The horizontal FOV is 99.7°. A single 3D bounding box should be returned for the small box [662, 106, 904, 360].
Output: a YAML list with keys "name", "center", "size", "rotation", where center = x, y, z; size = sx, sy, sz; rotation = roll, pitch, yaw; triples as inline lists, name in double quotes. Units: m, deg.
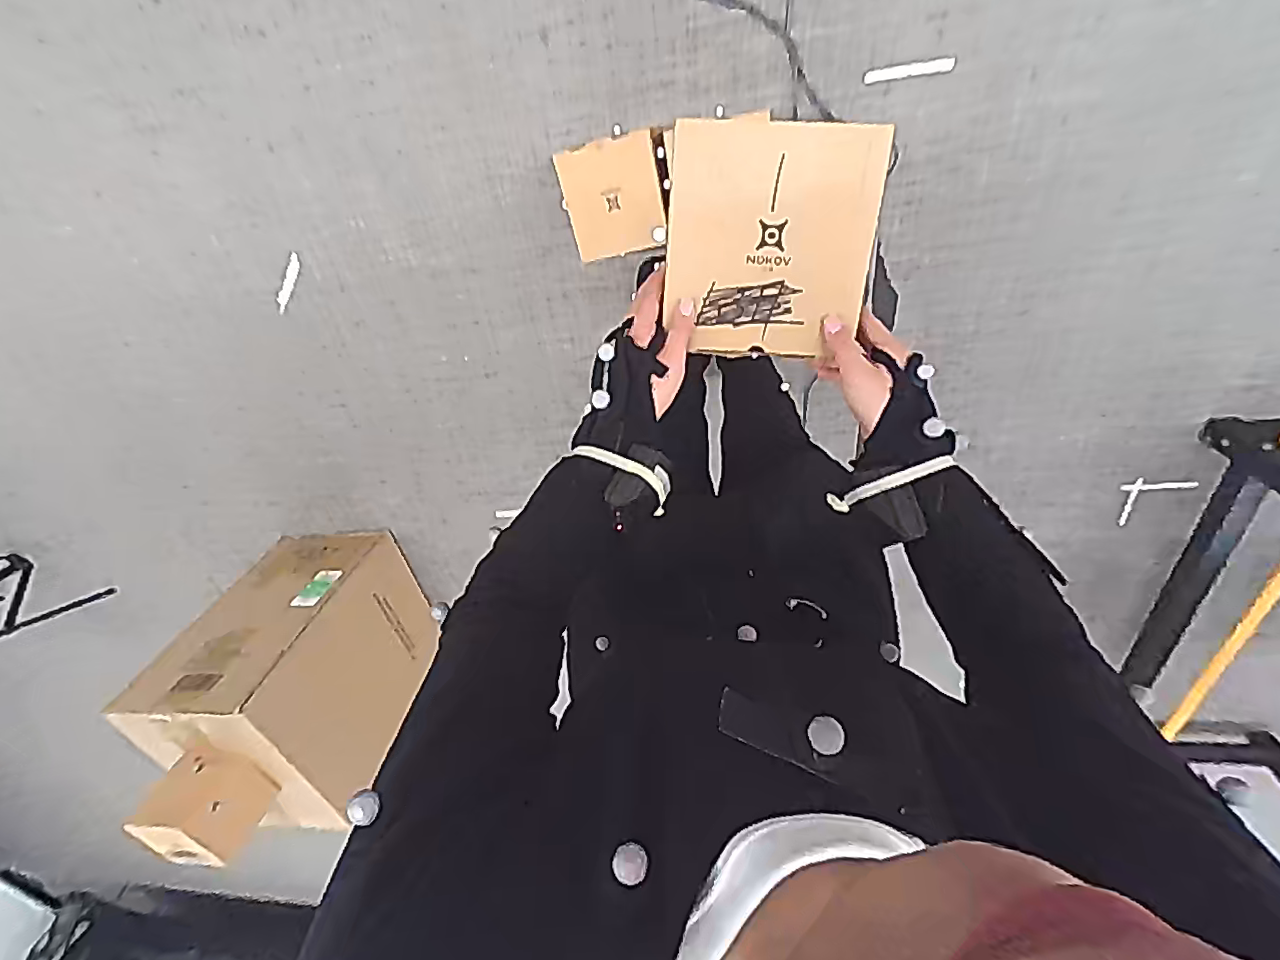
- name: "small box"
  center: [0.110, -0.216, 0.495]
  size: [0.168, 0.176, 0.179]
  rotation: [4, 112, 2]
